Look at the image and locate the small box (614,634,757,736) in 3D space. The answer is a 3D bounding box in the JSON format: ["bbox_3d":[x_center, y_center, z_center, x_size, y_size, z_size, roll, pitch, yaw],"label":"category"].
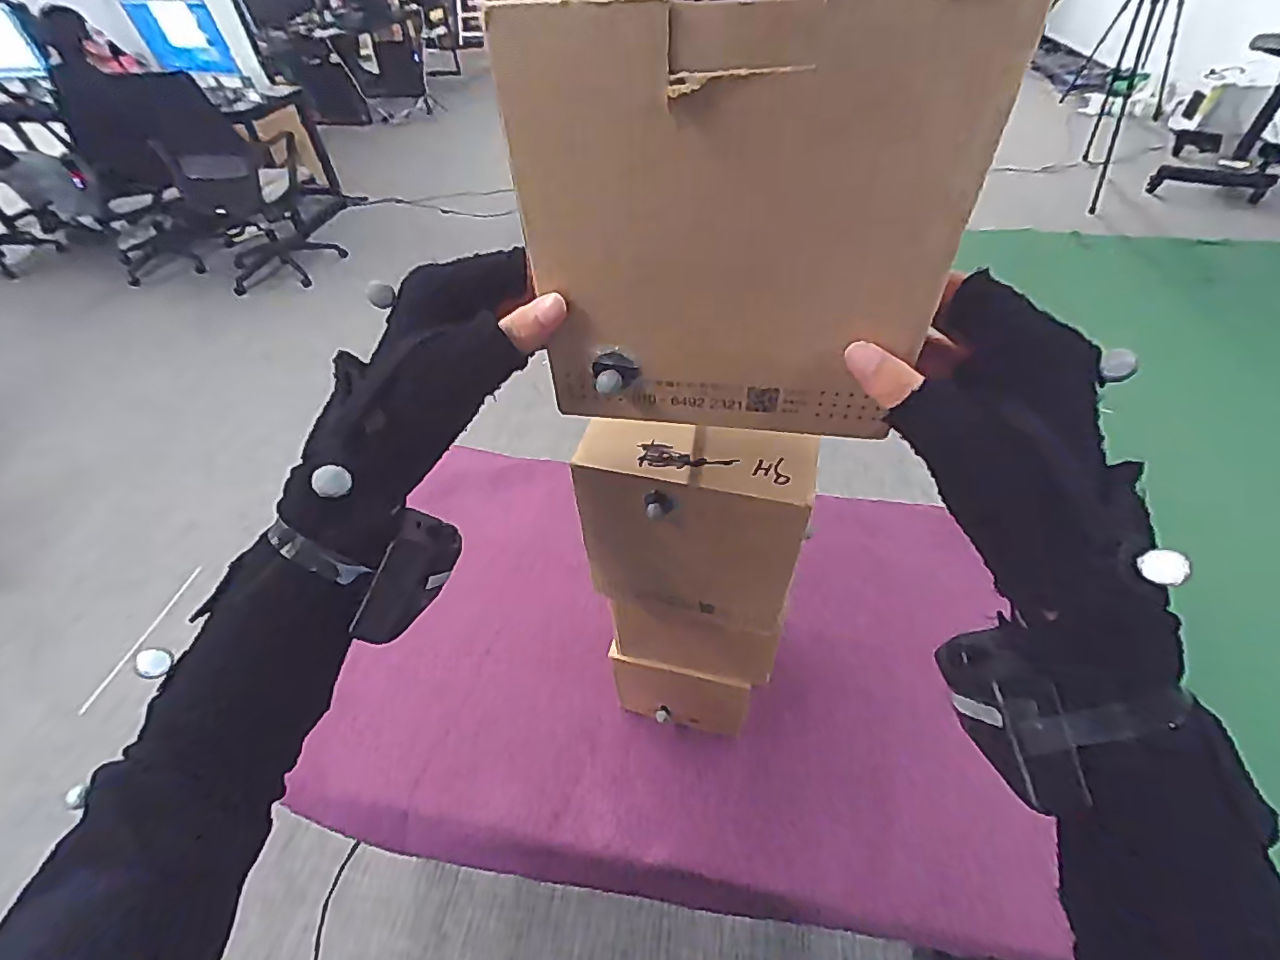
[{"bbox_3d":[0.072,0.208,0.717,0.168,0.176,0.179,9,49,12],"label":"small box"}]

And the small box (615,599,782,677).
[{"bbox_3d":[0.072,0.097,0.599,0.179,0.176,0.168,8,48,11],"label":"small box"}]

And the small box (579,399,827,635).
[{"bbox_3d":[0.060,0.001,0.465,0.168,0.176,0.179,10,47,13],"label":"small box"}]

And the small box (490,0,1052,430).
[{"bbox_3d":[0.052,-0.142,0.267,0.168,0.176,0.179,5,47,9],"label":"small box"}]
